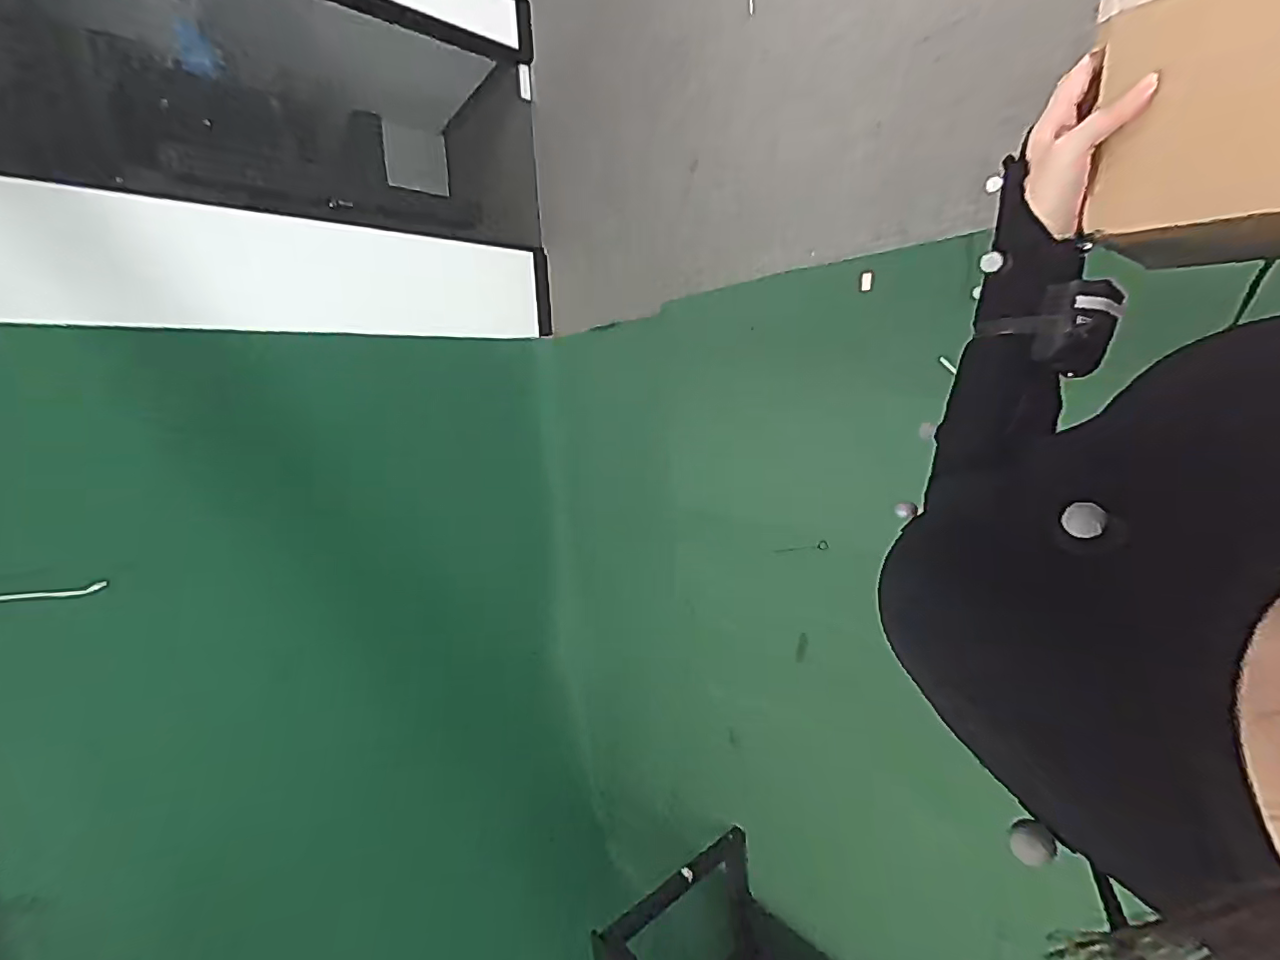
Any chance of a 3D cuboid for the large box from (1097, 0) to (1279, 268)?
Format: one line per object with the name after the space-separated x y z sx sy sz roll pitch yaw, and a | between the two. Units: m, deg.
0.581 -0.337 0.335 0.408 0.320 0.320 11 108 46 | large box
